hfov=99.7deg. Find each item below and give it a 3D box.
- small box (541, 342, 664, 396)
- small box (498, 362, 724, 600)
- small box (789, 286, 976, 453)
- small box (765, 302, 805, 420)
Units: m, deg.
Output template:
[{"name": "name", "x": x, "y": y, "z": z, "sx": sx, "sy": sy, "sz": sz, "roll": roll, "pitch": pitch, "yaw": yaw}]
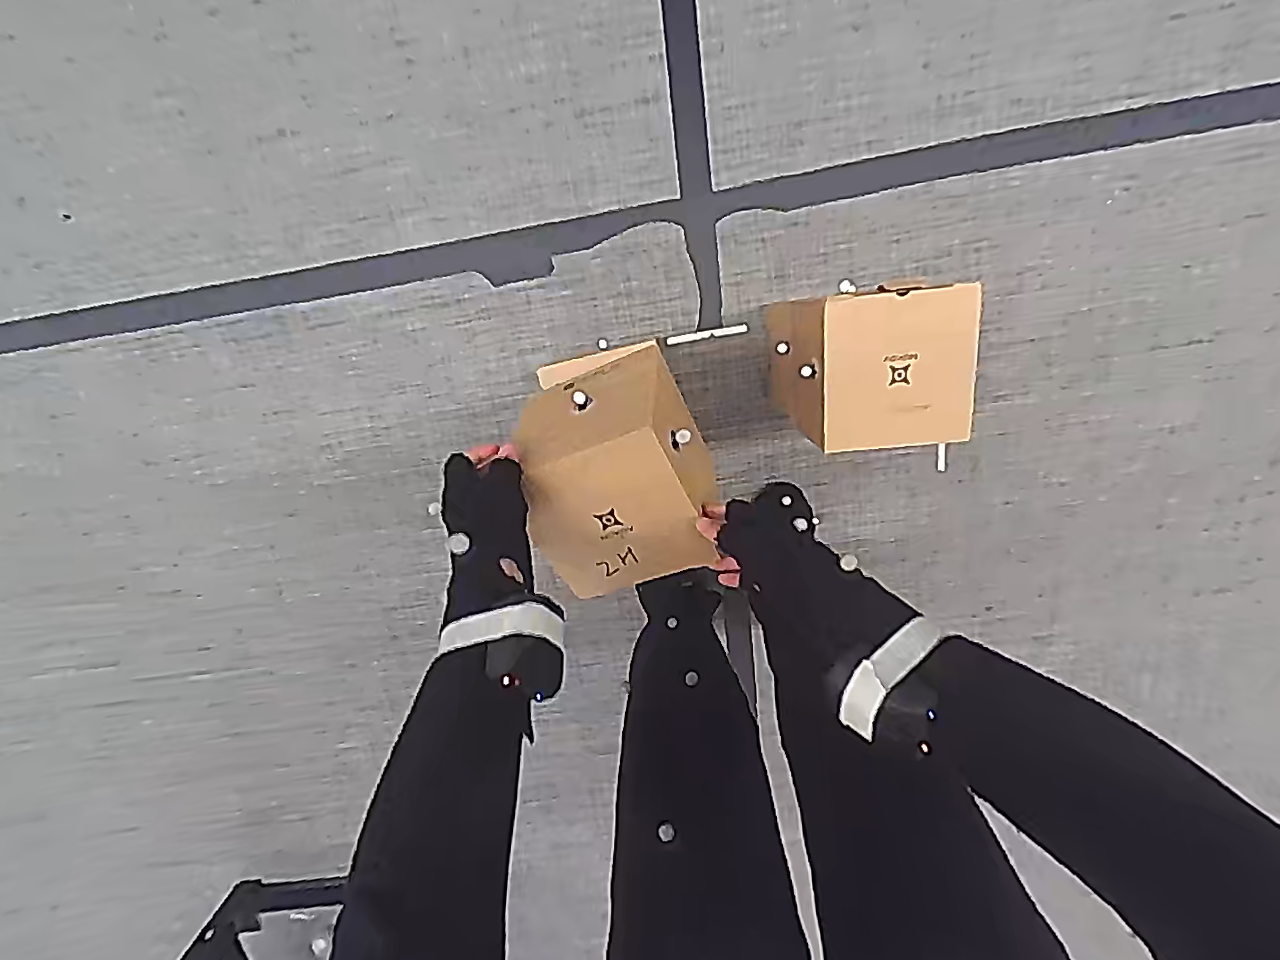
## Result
[{"name": "small box", "x": -0.039, "y": -0.120, "z": 0.862, "sx": 0.179, "sy": 0.176, "sz": 0.168, "roll": -13, "pitch": 106, "yaw": 4}, {"name": "small box", "x": -0.020, "y": -0.005, "z": 0.580, "sx": 0.168, "sy": 0.176, "sz": 0.179, "roll": -19, "pitch": 126, "yaw": 19}, {"name": "small box", "x": 0.288, "y": -0.141, "z": 0.681, "sx": 0.168, "sy": 0.176, "sz": 0.179, "roll": -4, "pitch": 107, "yaw": 3}, {"name": "small box", "x": 0.300, "y": -0.192, "z": 0.836, "sx": 0.179, "sy": 0.176, "sz": 0.168, "roll": -4, "pitch": 106, "yaw": 1}]
